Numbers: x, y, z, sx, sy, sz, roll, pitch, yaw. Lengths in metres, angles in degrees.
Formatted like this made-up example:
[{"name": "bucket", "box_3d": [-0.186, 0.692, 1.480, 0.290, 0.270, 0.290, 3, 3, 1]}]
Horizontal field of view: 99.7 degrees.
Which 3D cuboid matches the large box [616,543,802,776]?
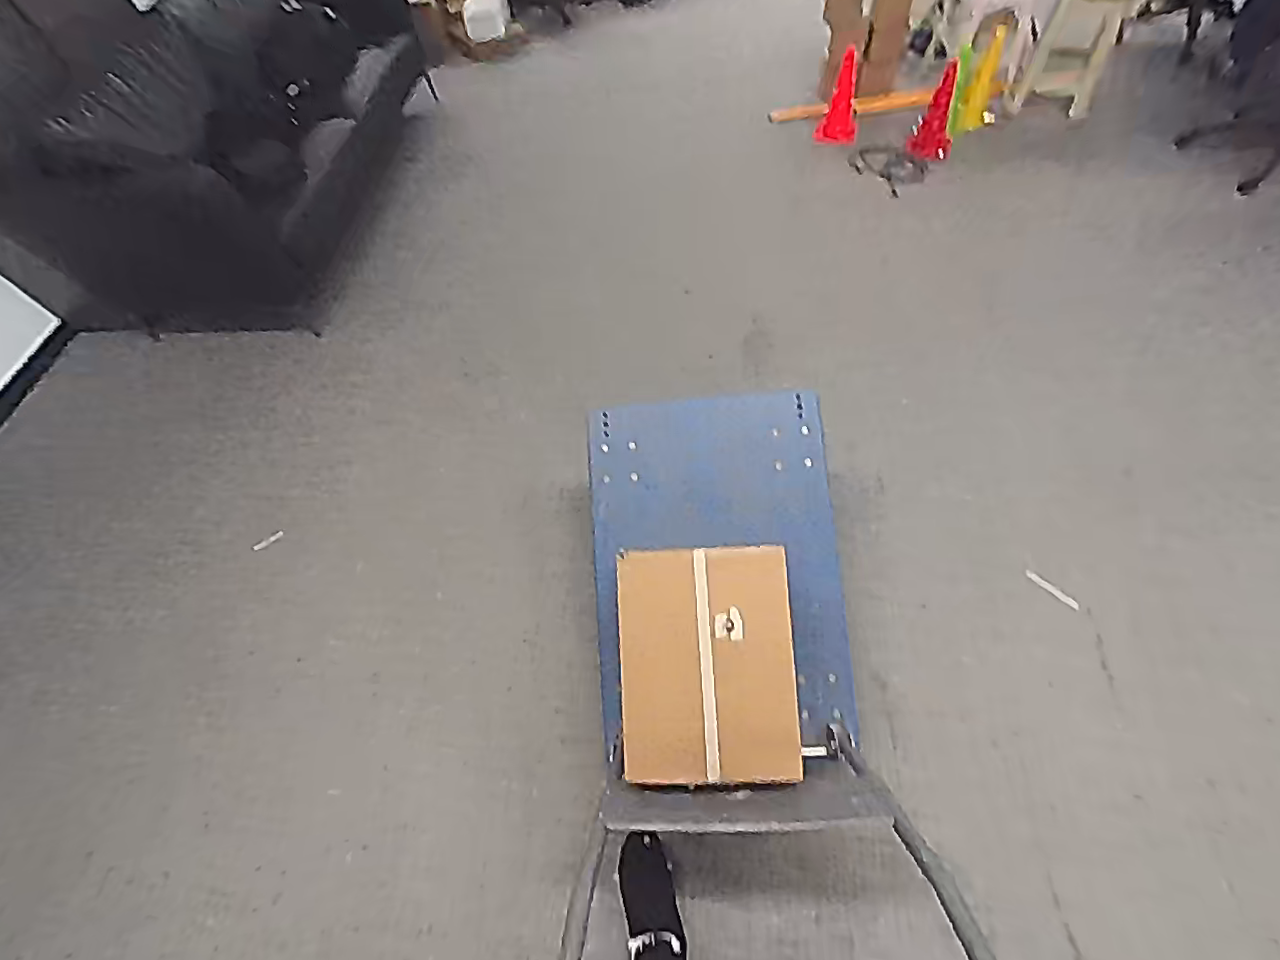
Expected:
[{"name": "large box", "box_3d": [0.134, 0.347, 1.129, 0.320, 0.320, 0.408, -4, 81, 5]}]
